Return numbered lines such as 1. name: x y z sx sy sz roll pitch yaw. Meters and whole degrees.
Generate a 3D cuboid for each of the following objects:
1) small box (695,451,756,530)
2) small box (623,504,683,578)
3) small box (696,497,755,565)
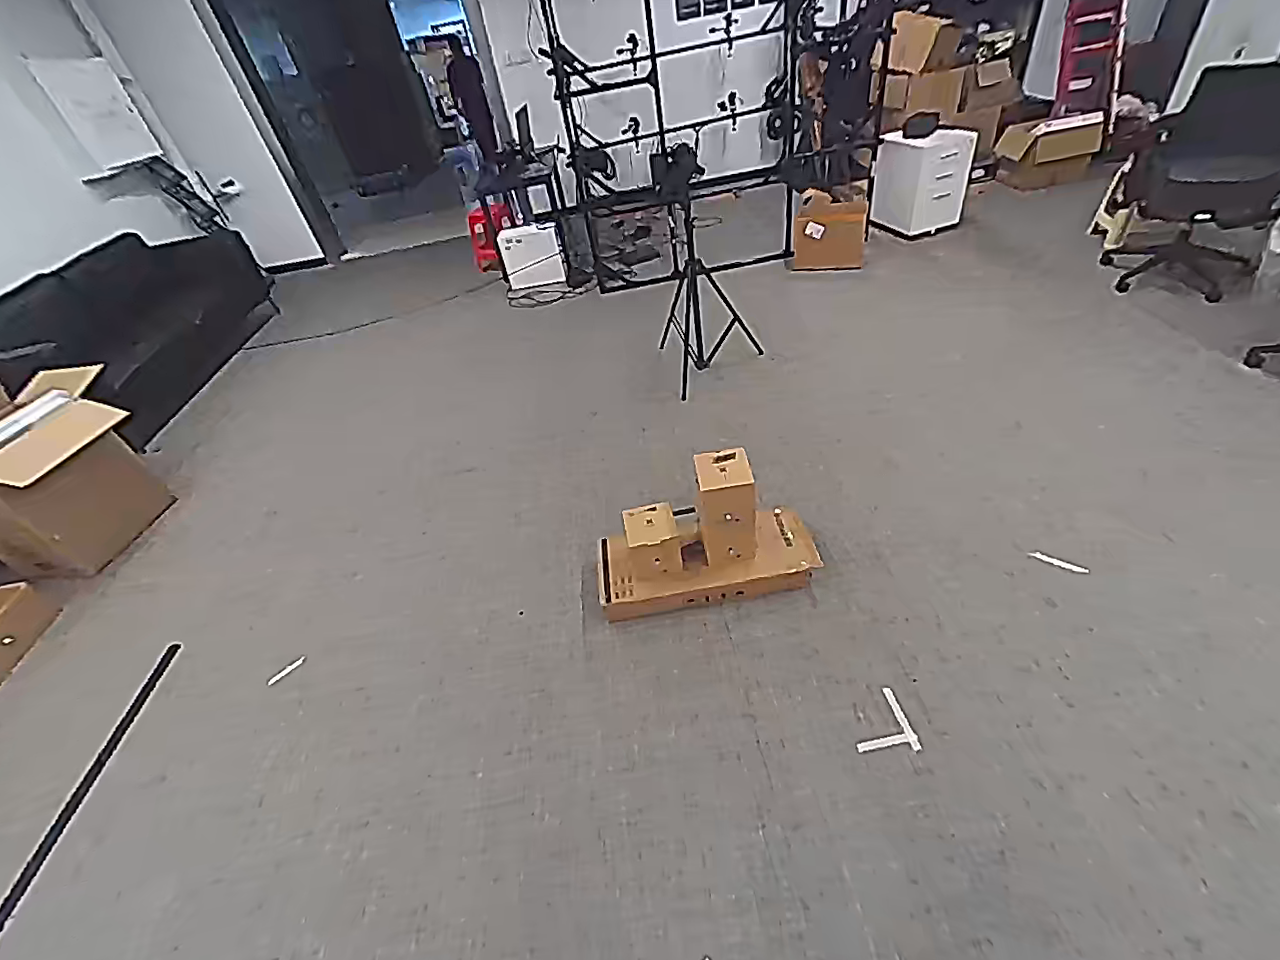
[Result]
1. small box: 0.271 0.034 1.723 0.168 0.176 0.179 -9 40 4
2. small box: 0.045 0.211 1.823 0.168 0.176 0.179 -12 40 -1
3. small box: 0.288 0.161 1.826 0.168 0.176 0.179 -11 39 1
